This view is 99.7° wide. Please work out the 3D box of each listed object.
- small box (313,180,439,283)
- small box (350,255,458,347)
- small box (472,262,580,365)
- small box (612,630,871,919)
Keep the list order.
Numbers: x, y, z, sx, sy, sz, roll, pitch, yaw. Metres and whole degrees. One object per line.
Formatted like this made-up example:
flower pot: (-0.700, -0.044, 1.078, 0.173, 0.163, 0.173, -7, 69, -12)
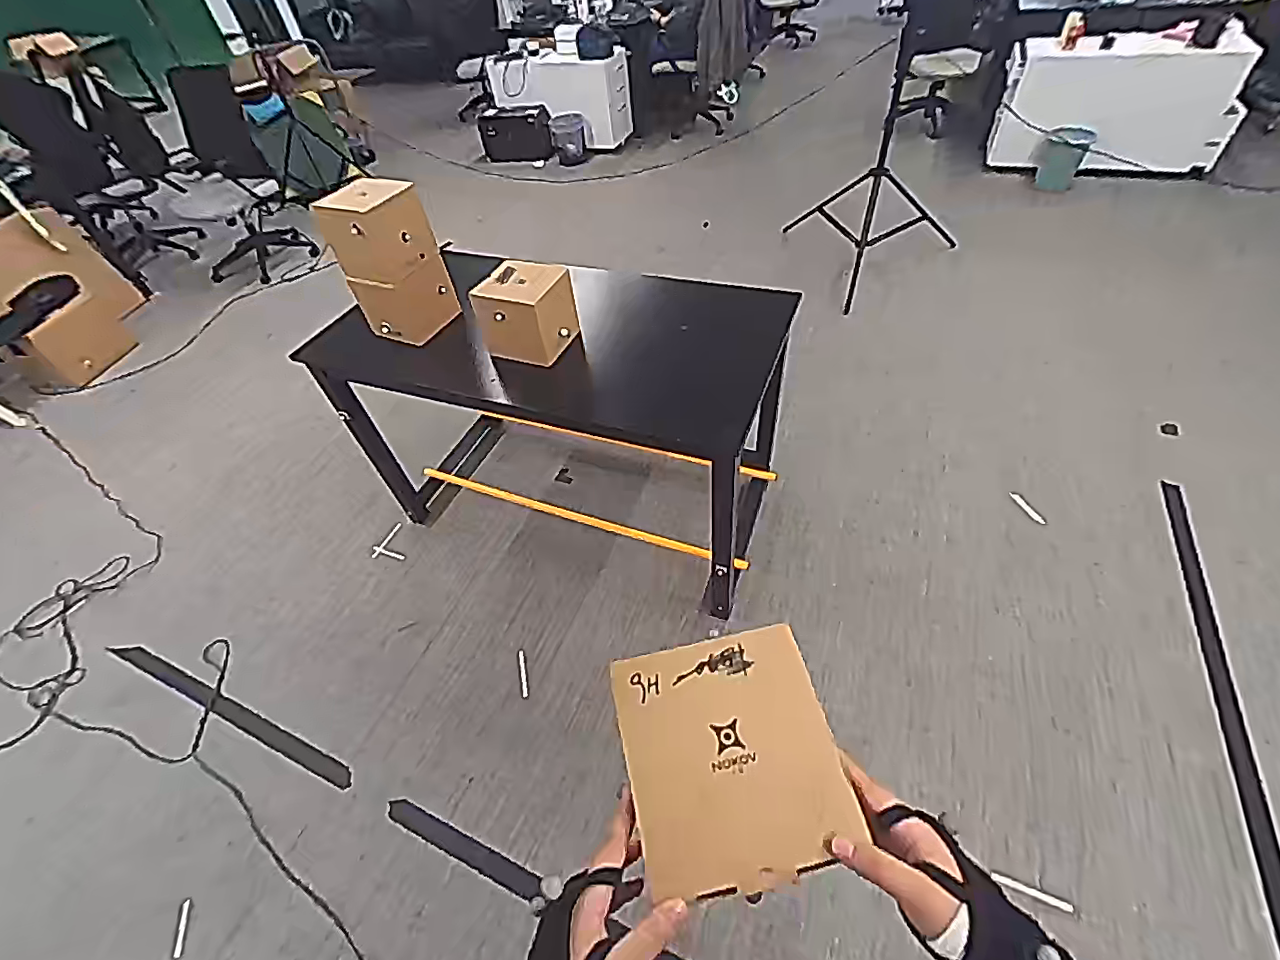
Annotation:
small box: (-0.616, -0.589, 1.287, 0.179, 0.176, 0.168, 16, 52, 21)
small box: (-0.599, -0.475, 1.405, 0.168, 0.176, 0.179, 16, 53, 21)
small box: (-0.264, -0.397, 1.292, 0.179, 0.176, 0.168, 15, 52, 18)
small box: (0.075, 0.260, 0.493, 0.168, 0.176, 0.179, -11, 57, -6)
